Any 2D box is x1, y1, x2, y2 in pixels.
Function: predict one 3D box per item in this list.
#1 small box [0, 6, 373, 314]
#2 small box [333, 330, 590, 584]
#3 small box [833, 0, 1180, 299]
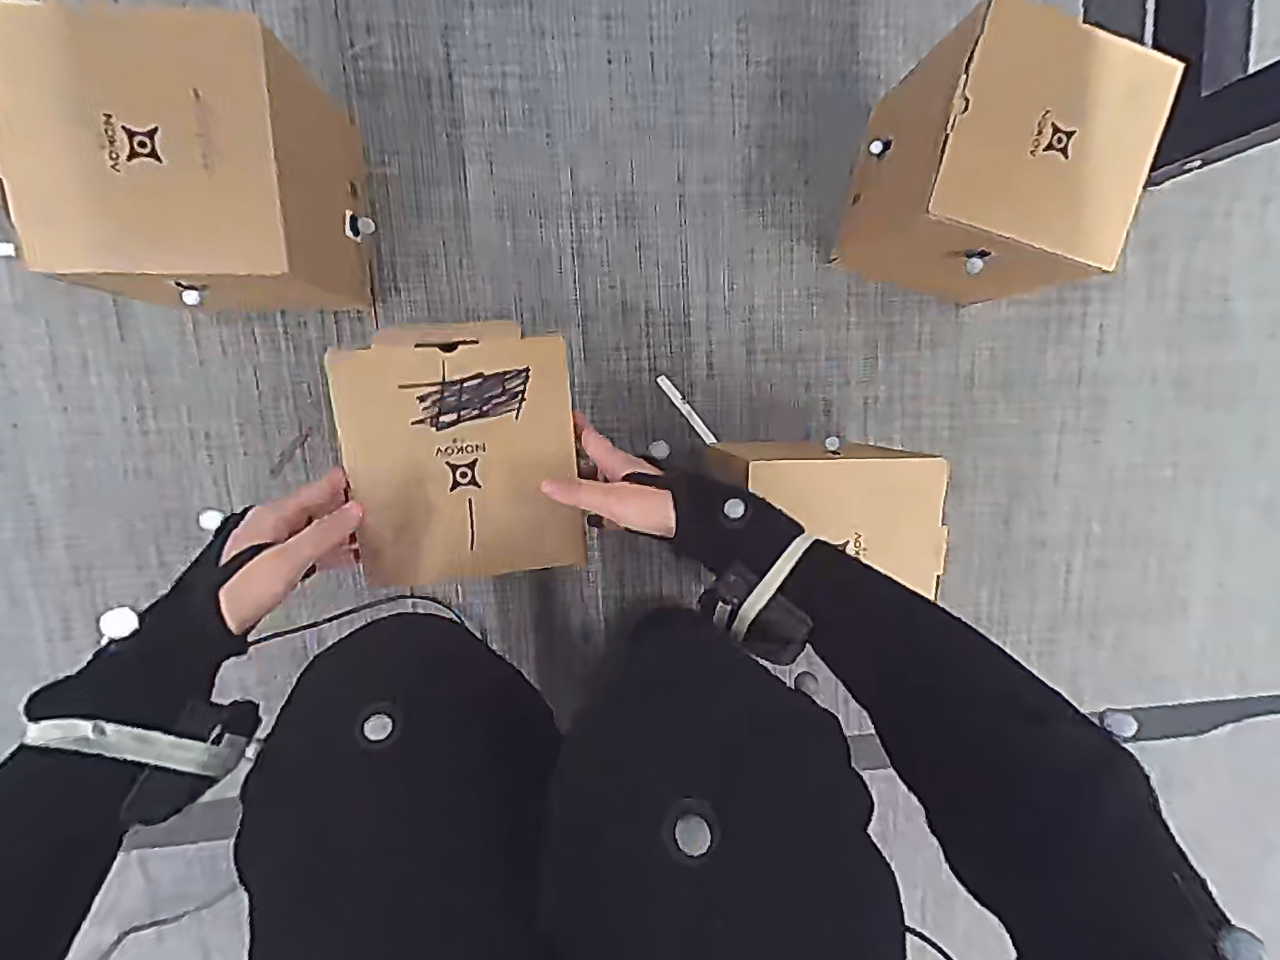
[{"bbox_3d":[-0.342,-0.231,0.438,0.179,0.176,0.168,-2,99,-7],"label":"small box"},{"bbox_3d":[-0.136,-0.028,0.469,0.168,0.176,0.179,-5,100,-7],"label":"small box"},{"bbox_3d":[0.314,-0.278,0.502,0.179,0.176,0.168,13,97,-7],"label":"small box"}]
